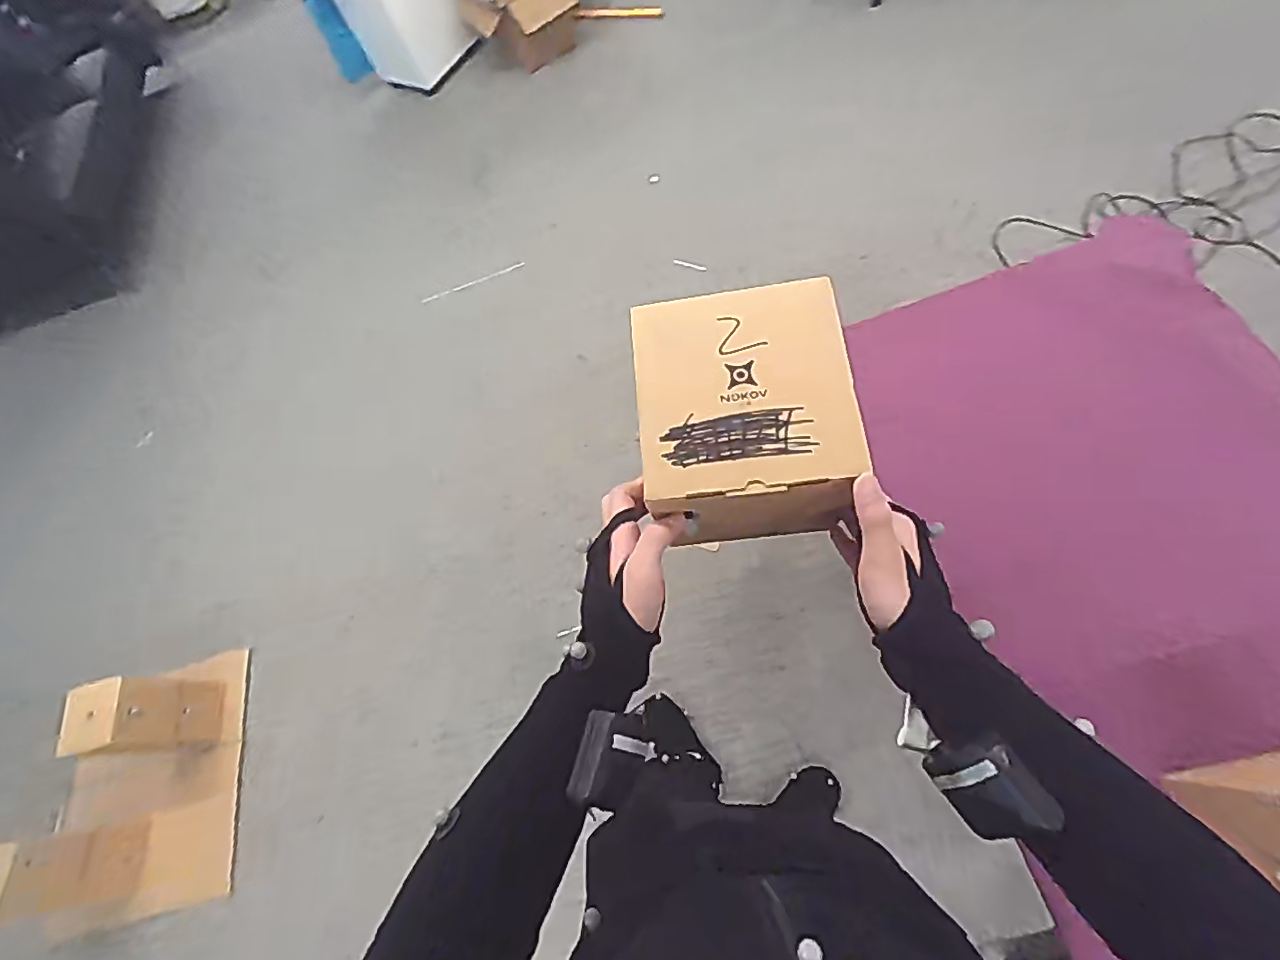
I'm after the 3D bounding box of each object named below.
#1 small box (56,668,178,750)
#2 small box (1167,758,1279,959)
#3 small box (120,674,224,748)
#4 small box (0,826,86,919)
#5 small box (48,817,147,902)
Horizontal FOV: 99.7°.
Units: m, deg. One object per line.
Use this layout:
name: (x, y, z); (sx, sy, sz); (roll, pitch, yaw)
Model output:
small box: (-1.443, 0.638, 1.506); (0.168, 0.176, 0.179); (-16, 66, 4)
small box: (0.698, 0.380, 0.532); (0.168, 0.176, 0.179); (-16, 65, 6)
small box: (-1.419, 0.703, 1.652); (0.168, 0.176, 0.179); (-16, 65, 5)
small box: (-1.581, 0.993, 1.374); (0.168, 0.176, 0.179); (-10, 65, 9)
small box: (-1.554, 1.062, 1.522); (0.168, 0.176, 0.179); (-9, 65, 9)
